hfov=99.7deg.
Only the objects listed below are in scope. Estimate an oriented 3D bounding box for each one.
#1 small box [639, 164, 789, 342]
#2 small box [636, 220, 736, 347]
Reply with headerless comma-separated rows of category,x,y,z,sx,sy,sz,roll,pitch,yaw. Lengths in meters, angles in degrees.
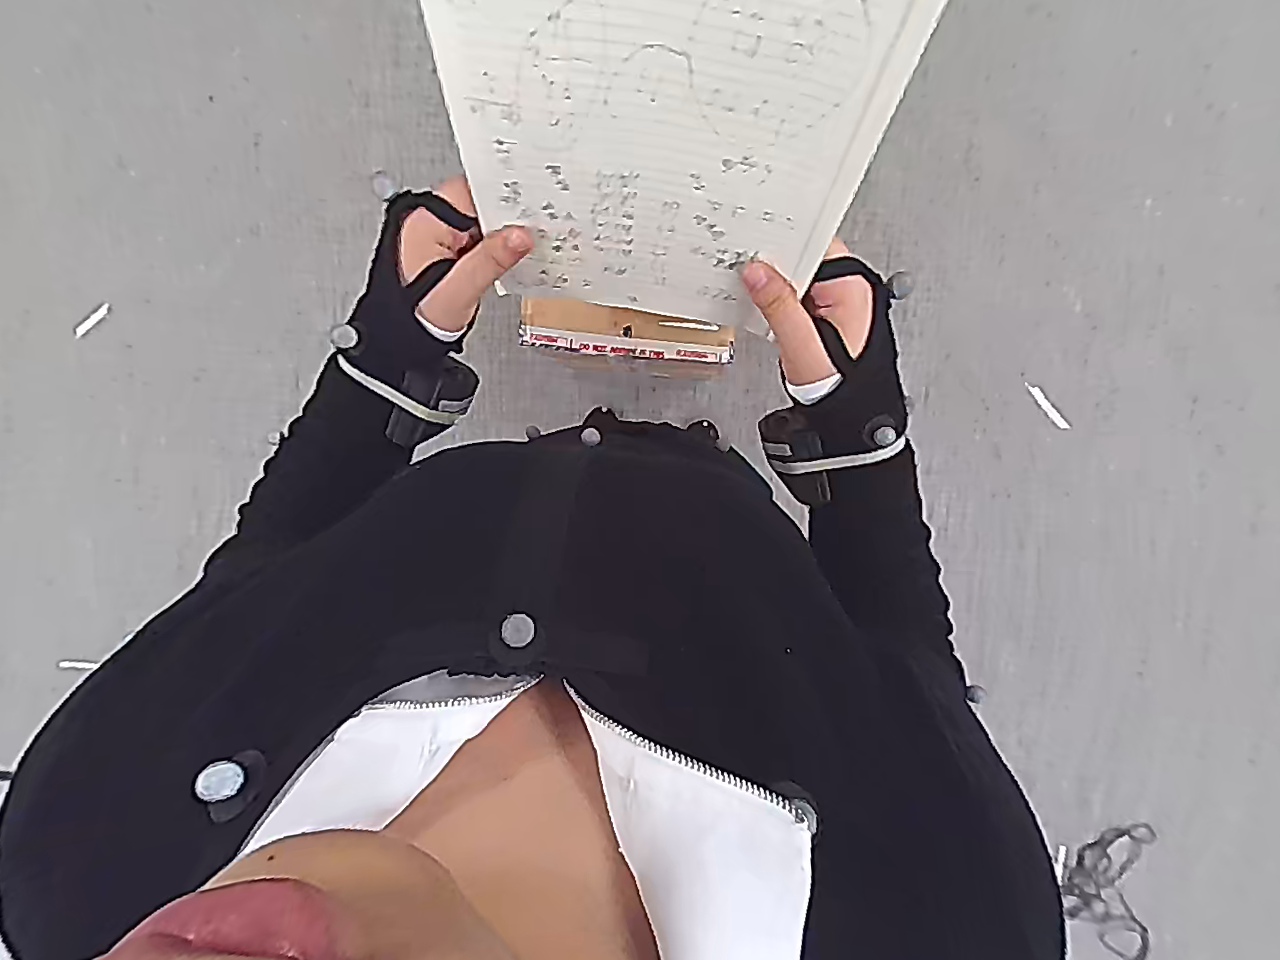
small box,0.087,-0.290,0.725,0.168,0.176,0.179,5,99,-1
small box,0.084,-0.313,0.888,0.179,0.176,0.168,1,98,0
